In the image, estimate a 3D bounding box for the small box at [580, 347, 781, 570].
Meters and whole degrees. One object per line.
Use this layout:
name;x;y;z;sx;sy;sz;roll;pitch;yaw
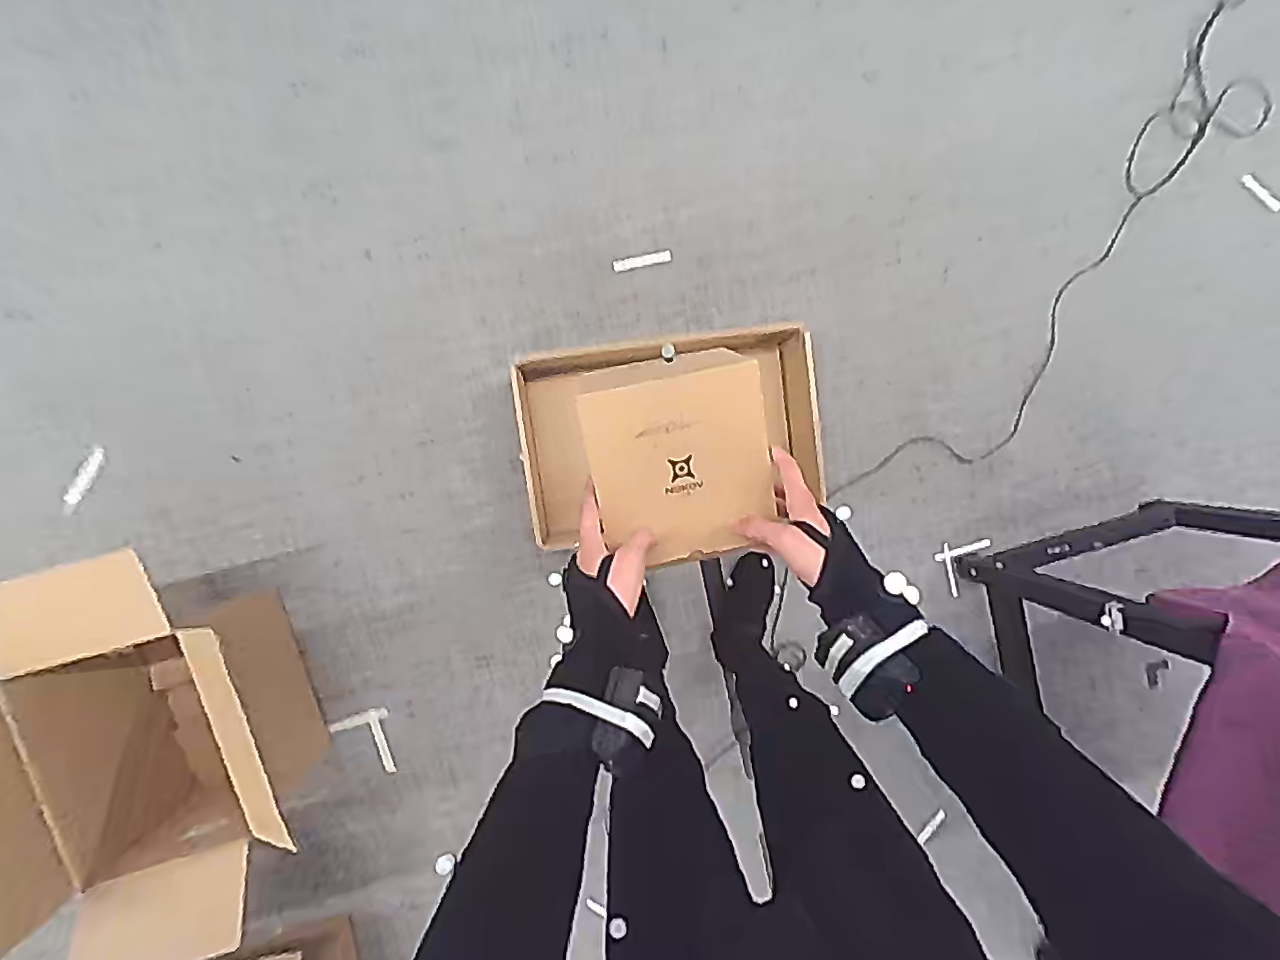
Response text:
small box;0.037;-0.033;0.564;0.168;0.176;0.179;-11;108;-1
